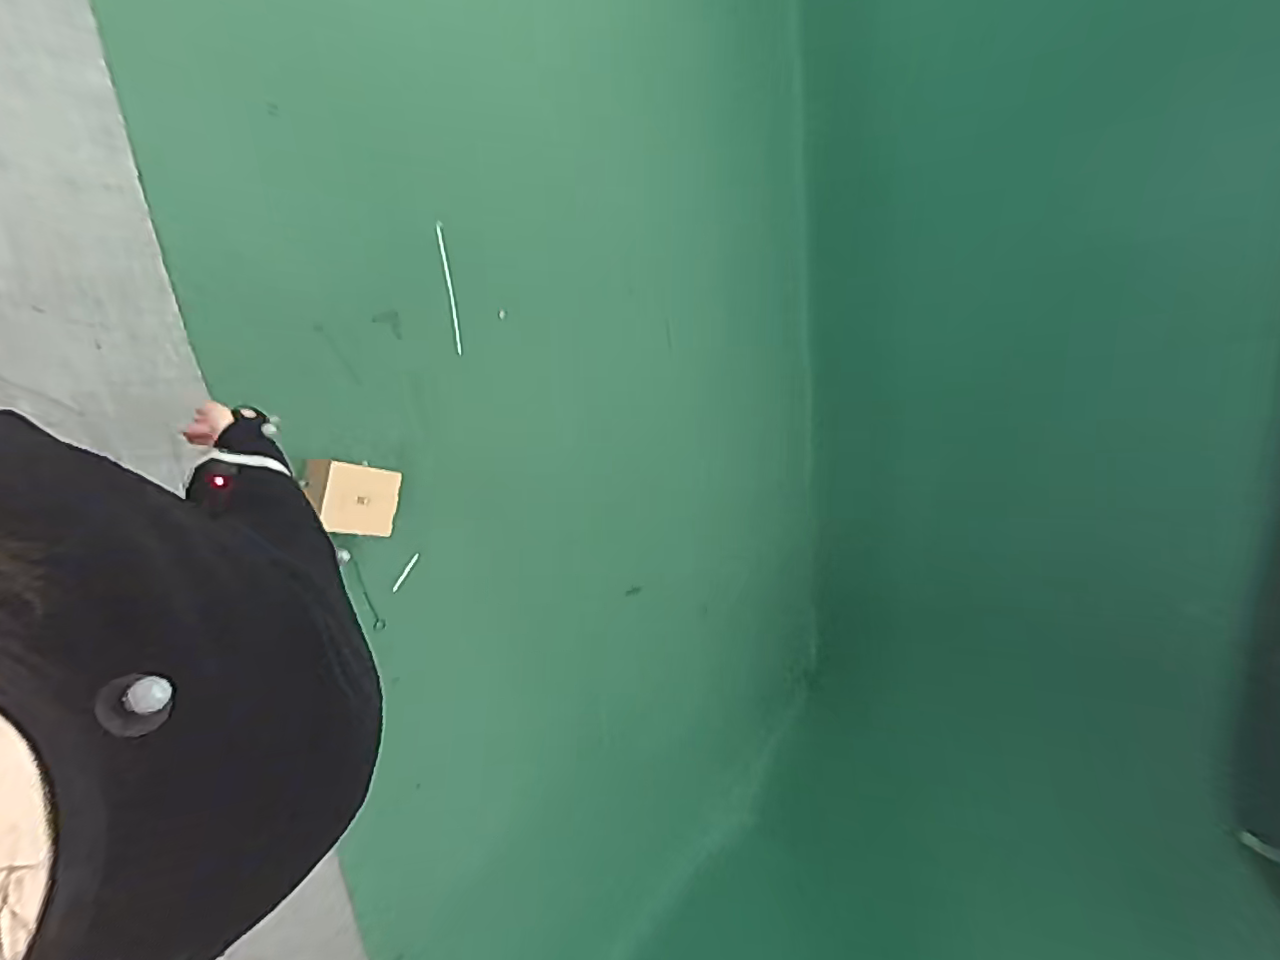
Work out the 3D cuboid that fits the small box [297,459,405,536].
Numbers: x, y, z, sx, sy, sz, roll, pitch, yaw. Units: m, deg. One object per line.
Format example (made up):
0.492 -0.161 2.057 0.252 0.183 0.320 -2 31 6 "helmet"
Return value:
-0.735 0.042 1.376 0.179 0.176 0.168 15 82 -49 "small box"
